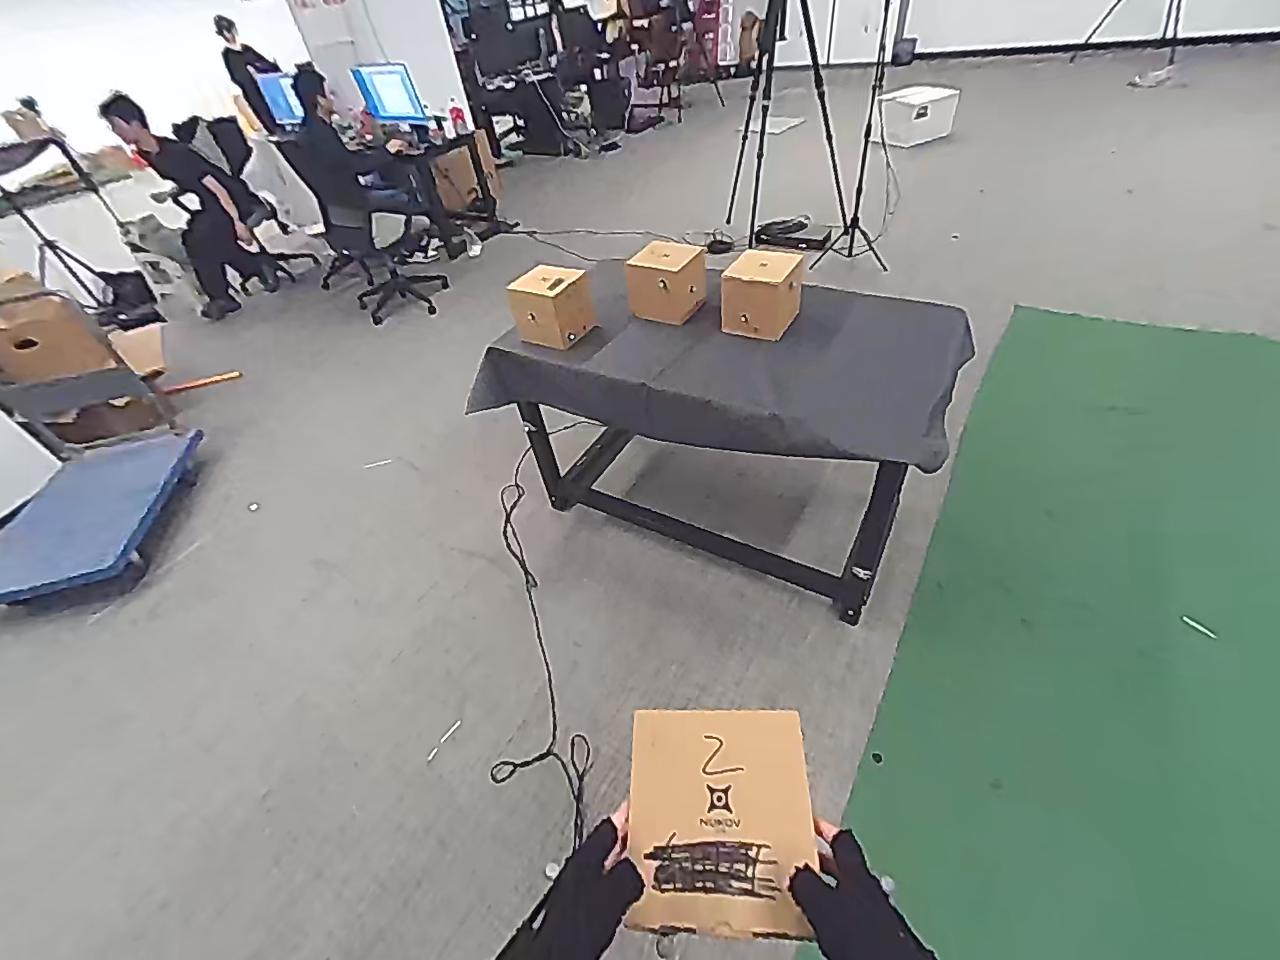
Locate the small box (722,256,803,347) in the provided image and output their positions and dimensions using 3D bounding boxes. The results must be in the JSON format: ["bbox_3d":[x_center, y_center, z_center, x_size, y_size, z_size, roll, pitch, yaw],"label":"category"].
[{"bbox_3d":[0.334,-0.493,1.496,0.168,0.176,0.179,19,51,26],"label":"small box"}]

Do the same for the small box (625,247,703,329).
[{"bbox_3d":[0.079,-0.570,1.611,0.179,0.176,0.168,21,51,27],"label":"small box"}]

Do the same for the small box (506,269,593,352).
[{"bbox_3d":[-0.257,-0.493,1.585,0.179,0.176,0.168,19,49,26],"label":"small box"}]
